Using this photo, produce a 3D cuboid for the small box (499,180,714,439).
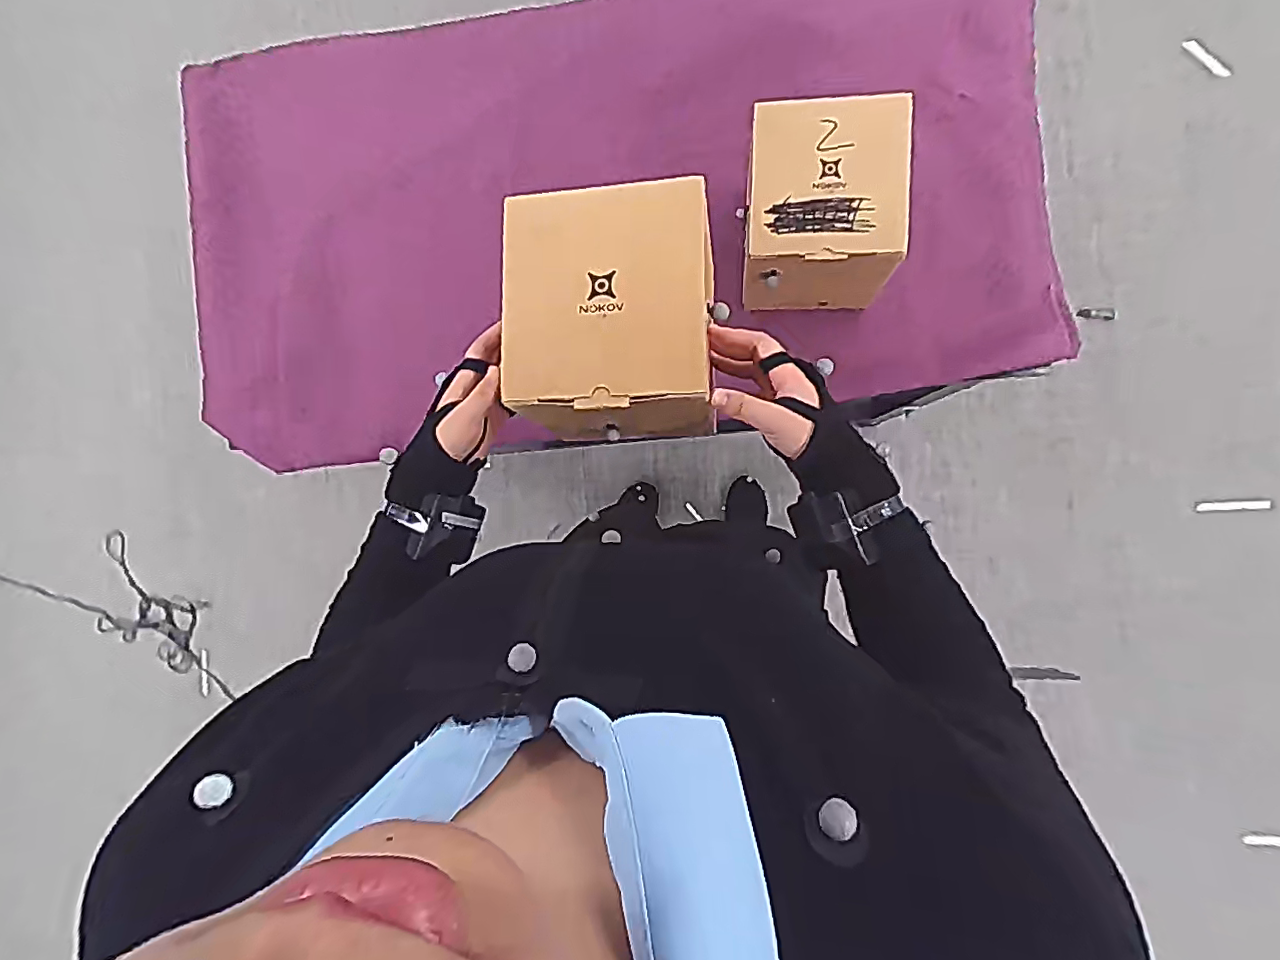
[{"bbox_3d":[-0.017,-0.139,0.501,0.168,0.176,0.179,-1,85,9],"label":"small box"}]
